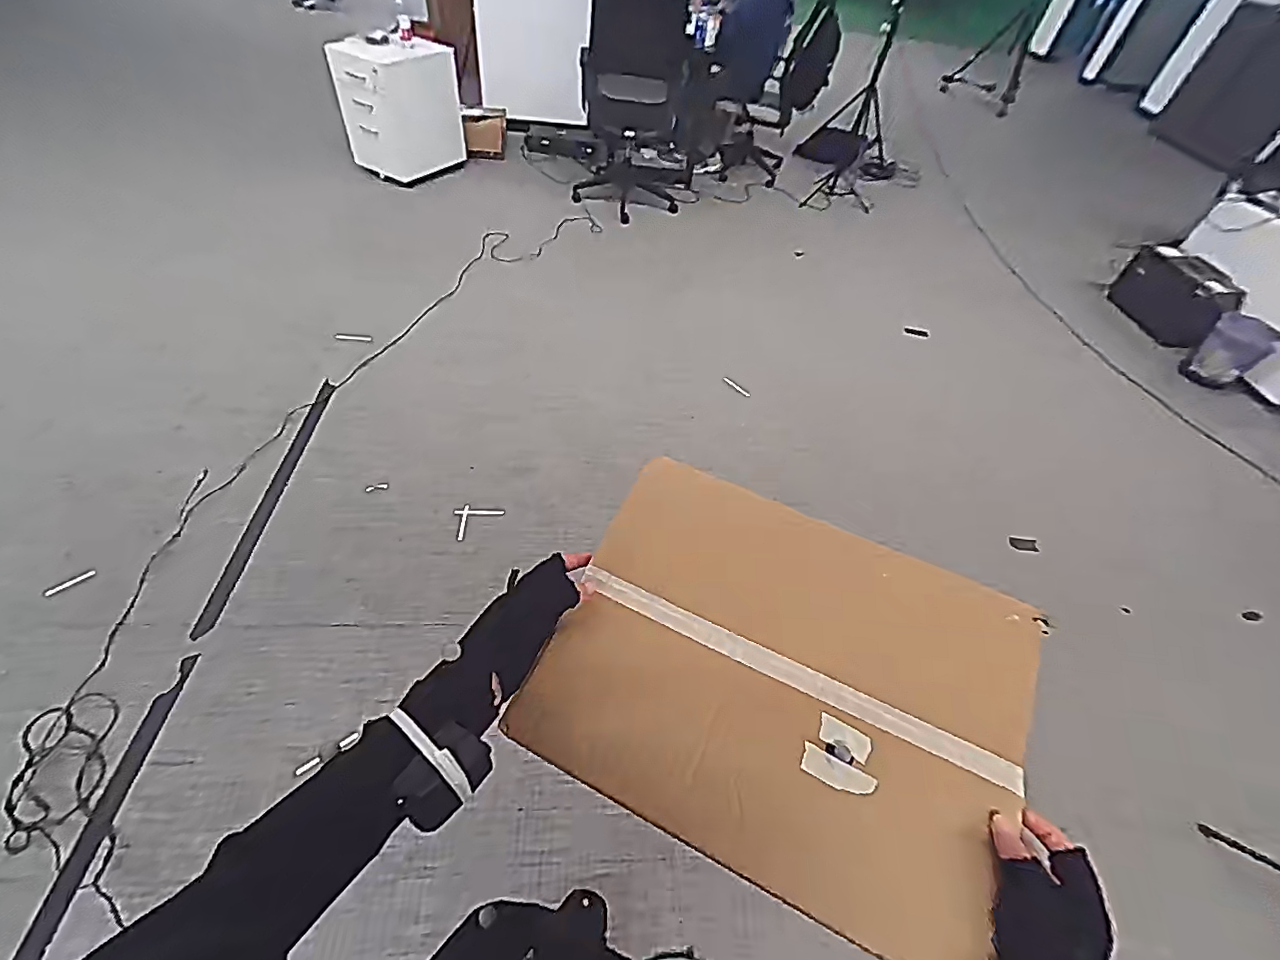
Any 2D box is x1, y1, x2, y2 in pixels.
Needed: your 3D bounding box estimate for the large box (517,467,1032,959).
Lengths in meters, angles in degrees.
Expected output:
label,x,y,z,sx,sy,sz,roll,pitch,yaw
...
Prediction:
label,x,y,z,sx,sy,sz,roll,pitch,yaw
large box,0.133,0.248,0.627,0.408,0.320,0.320,24,65,14
